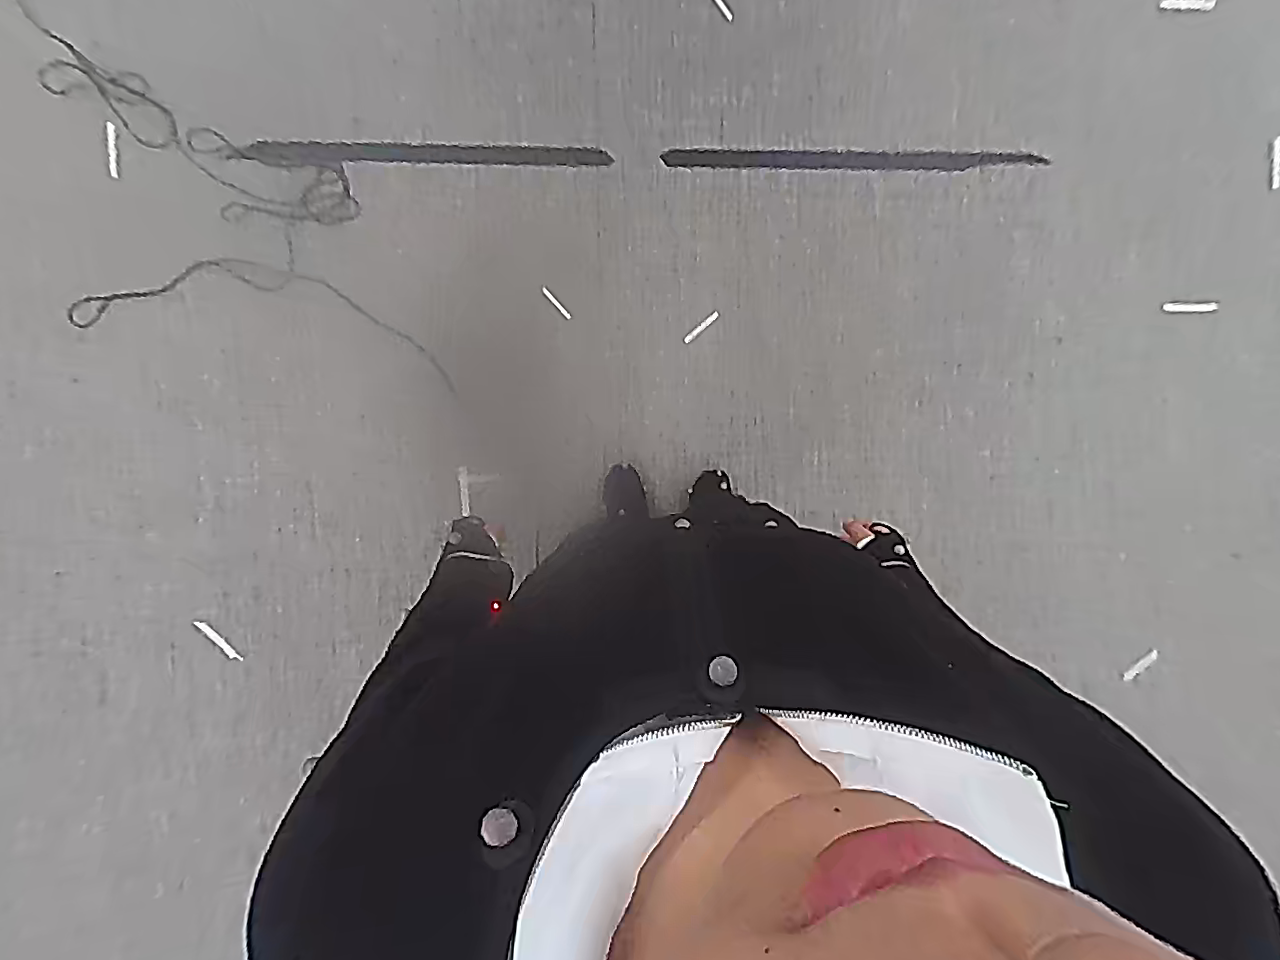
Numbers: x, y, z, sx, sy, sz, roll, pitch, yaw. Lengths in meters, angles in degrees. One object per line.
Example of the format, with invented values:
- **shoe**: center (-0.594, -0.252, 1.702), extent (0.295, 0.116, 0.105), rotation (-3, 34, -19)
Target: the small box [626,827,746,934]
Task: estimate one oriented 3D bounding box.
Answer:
- **small box**: center (0.065, 0.667, 0.821), extent (0.168, 0.176, 0.179), rotation (-2, 92, -1)
